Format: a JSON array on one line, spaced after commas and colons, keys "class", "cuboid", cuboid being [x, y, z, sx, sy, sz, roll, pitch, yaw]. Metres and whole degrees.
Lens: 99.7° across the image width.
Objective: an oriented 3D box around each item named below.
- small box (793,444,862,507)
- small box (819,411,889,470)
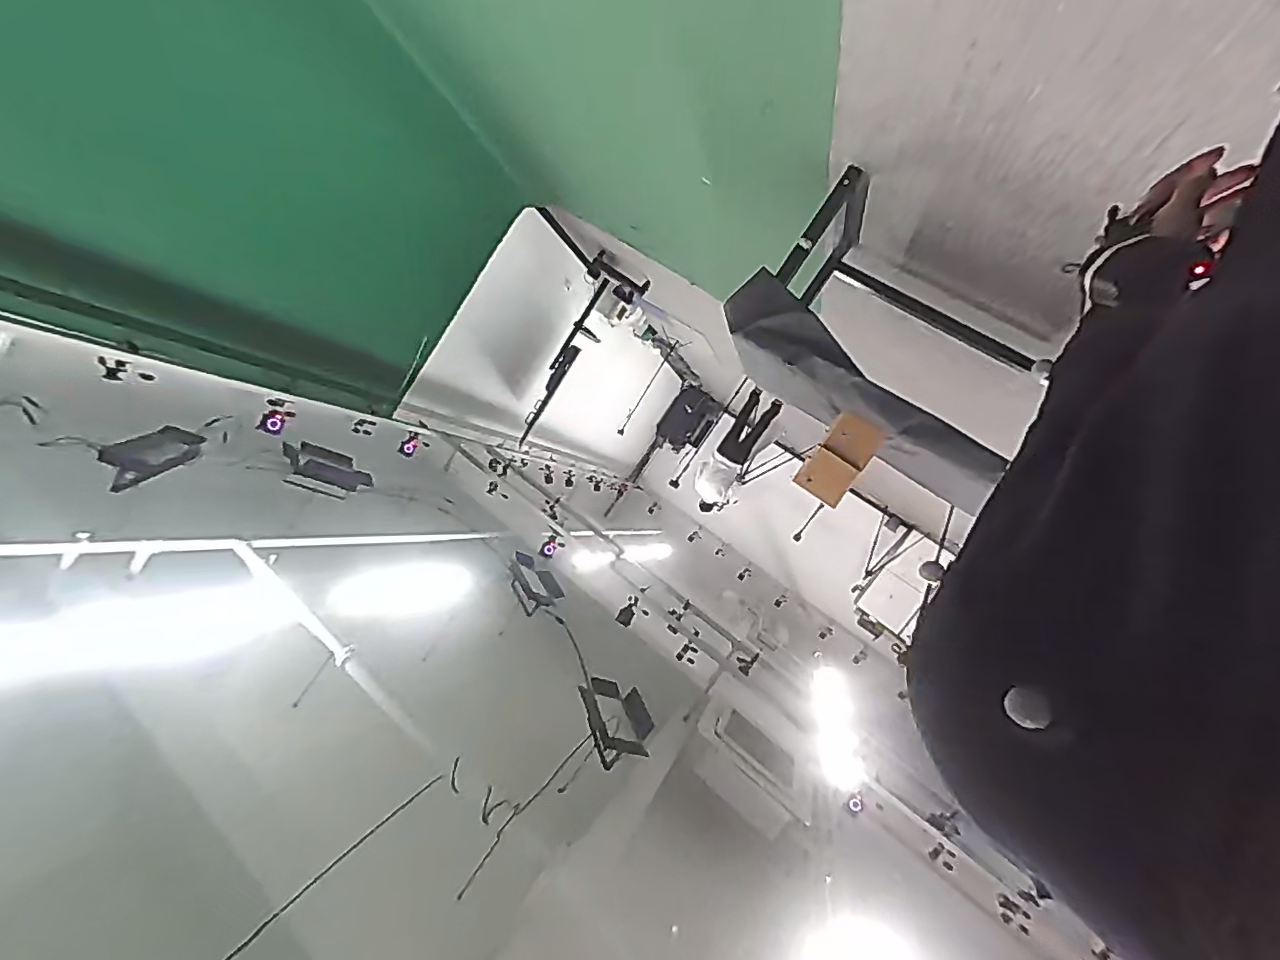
[{"class": "small box", "cuboid": [0.707, -0.021, 2.048, 0.179, 0.176, 0.168, 36, -173, 7]}, {"class": "small box", "cuboid": [0.805, -0.153, 2.049, 0.179, 0.176, 0.168, 35, -173, 9]}]
